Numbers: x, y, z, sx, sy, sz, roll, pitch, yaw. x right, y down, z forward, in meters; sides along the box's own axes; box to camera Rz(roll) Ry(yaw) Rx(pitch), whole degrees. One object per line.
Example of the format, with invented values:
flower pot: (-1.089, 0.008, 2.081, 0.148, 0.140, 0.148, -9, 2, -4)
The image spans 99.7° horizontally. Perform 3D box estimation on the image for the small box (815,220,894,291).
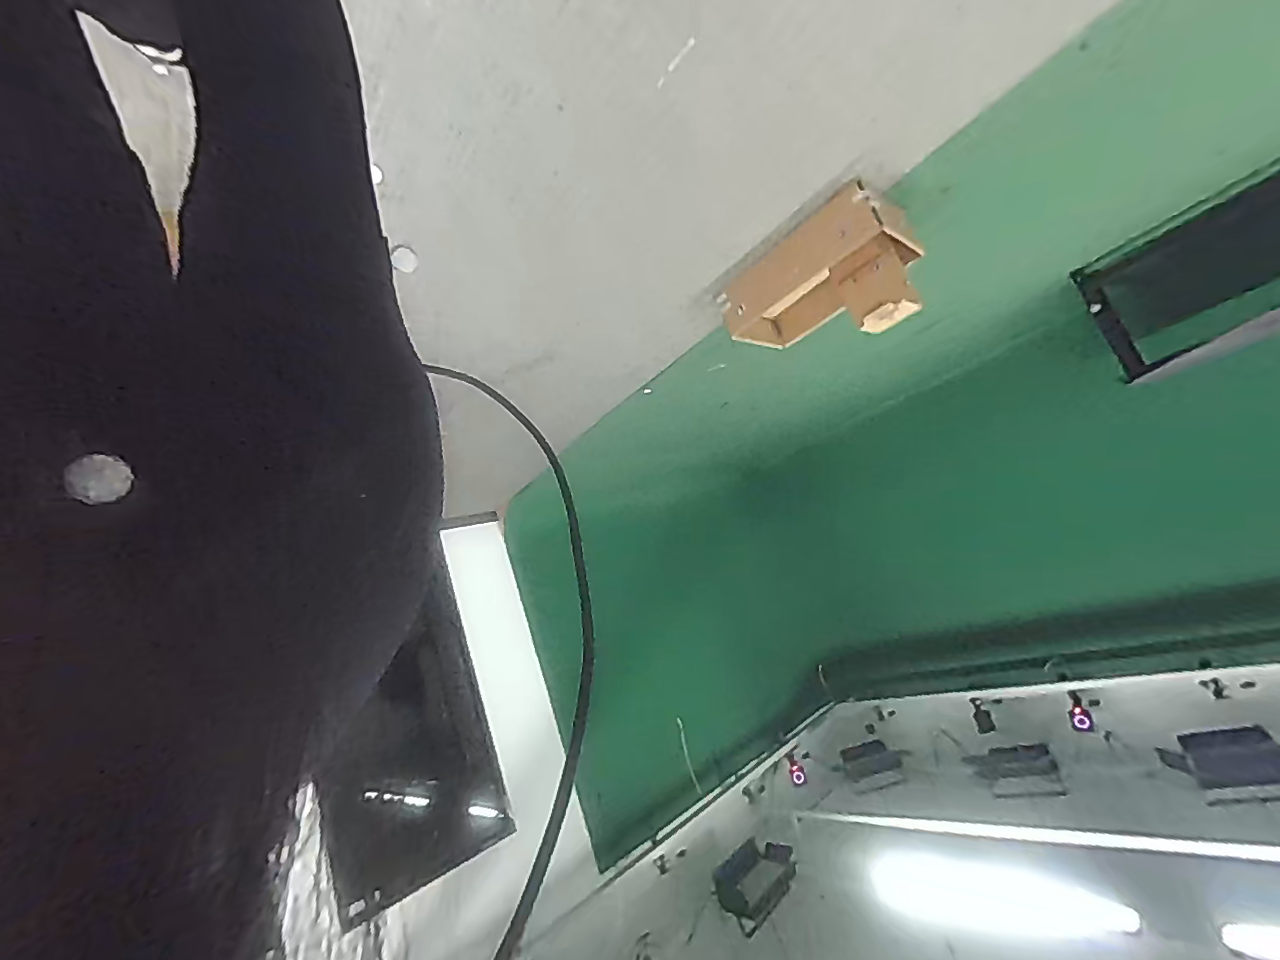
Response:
small box: (0.739, -0.760, 1.860, 0.179, 0.176, 0.168, -7, 162, -42)

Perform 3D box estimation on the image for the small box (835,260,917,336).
small box: (0.786, -0.610, 1.812, 0.179, 0.176, 0.168, -7, 164, -44)
